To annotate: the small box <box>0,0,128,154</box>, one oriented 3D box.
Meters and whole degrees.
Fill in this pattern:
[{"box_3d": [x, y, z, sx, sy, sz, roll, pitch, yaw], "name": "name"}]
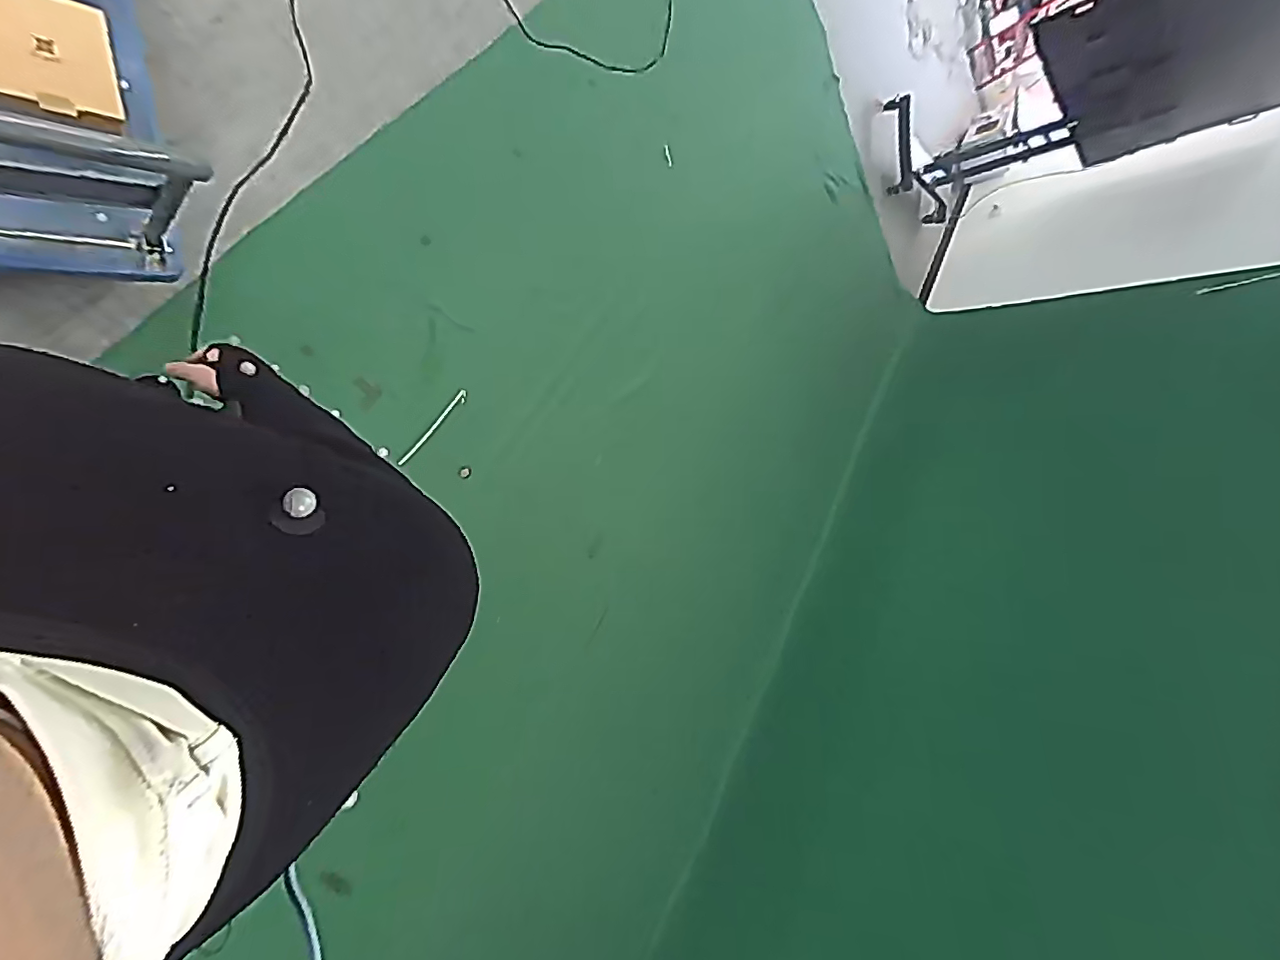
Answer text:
[{"box_3d": [-1.017, -0.702, 0.933, 0.168, 0.176, 0.179, -14, 104, -44], "name": "small box"}]
